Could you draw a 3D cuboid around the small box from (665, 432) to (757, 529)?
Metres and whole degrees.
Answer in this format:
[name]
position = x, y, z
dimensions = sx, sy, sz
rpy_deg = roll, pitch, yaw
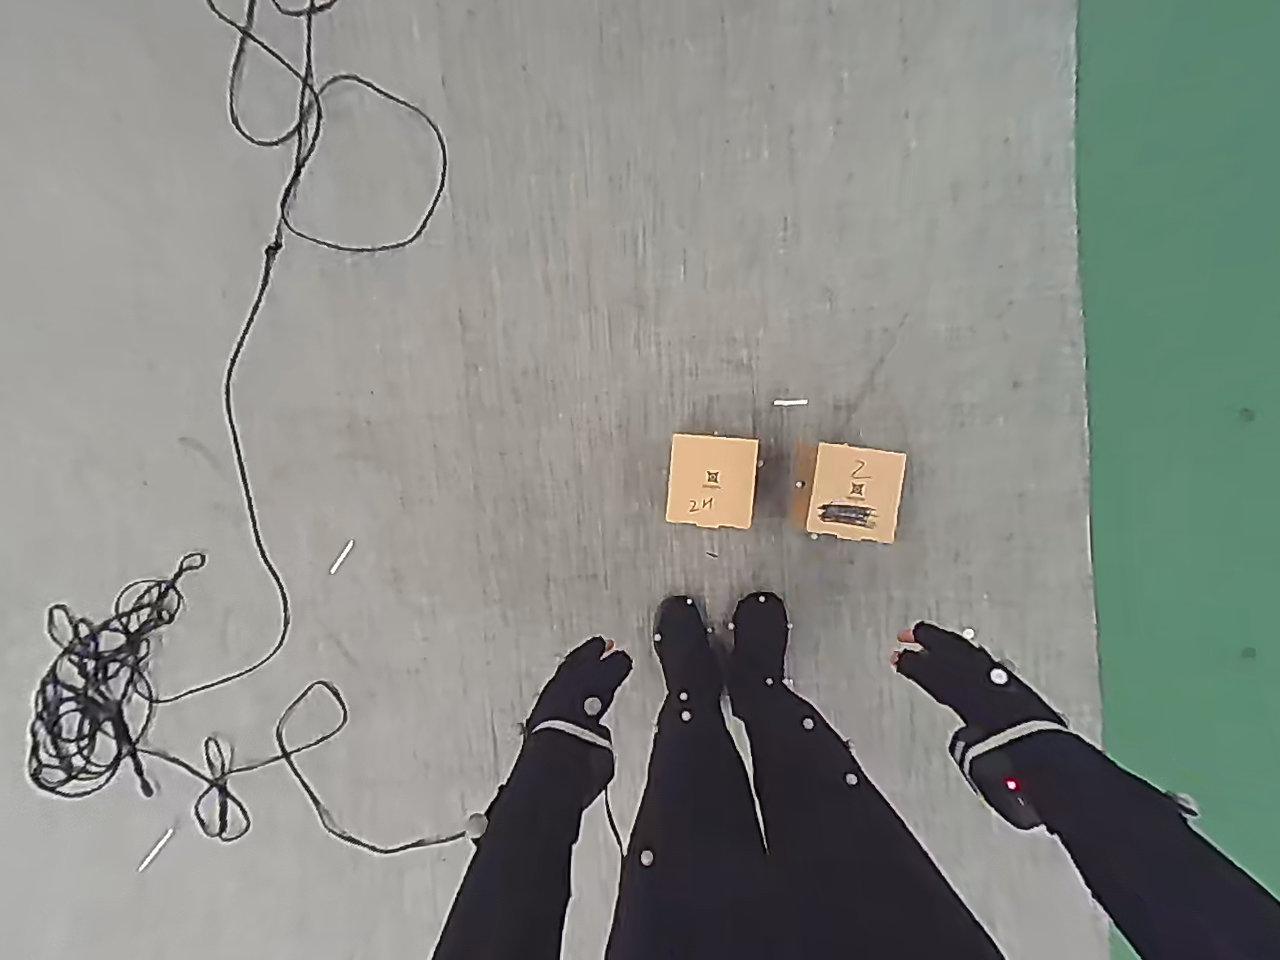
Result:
[small box]
position = 0.142, -0.001, 1.121
dimensions = 0.168, 0.176, 0.179
rpy_deg = 5, 93, 5
